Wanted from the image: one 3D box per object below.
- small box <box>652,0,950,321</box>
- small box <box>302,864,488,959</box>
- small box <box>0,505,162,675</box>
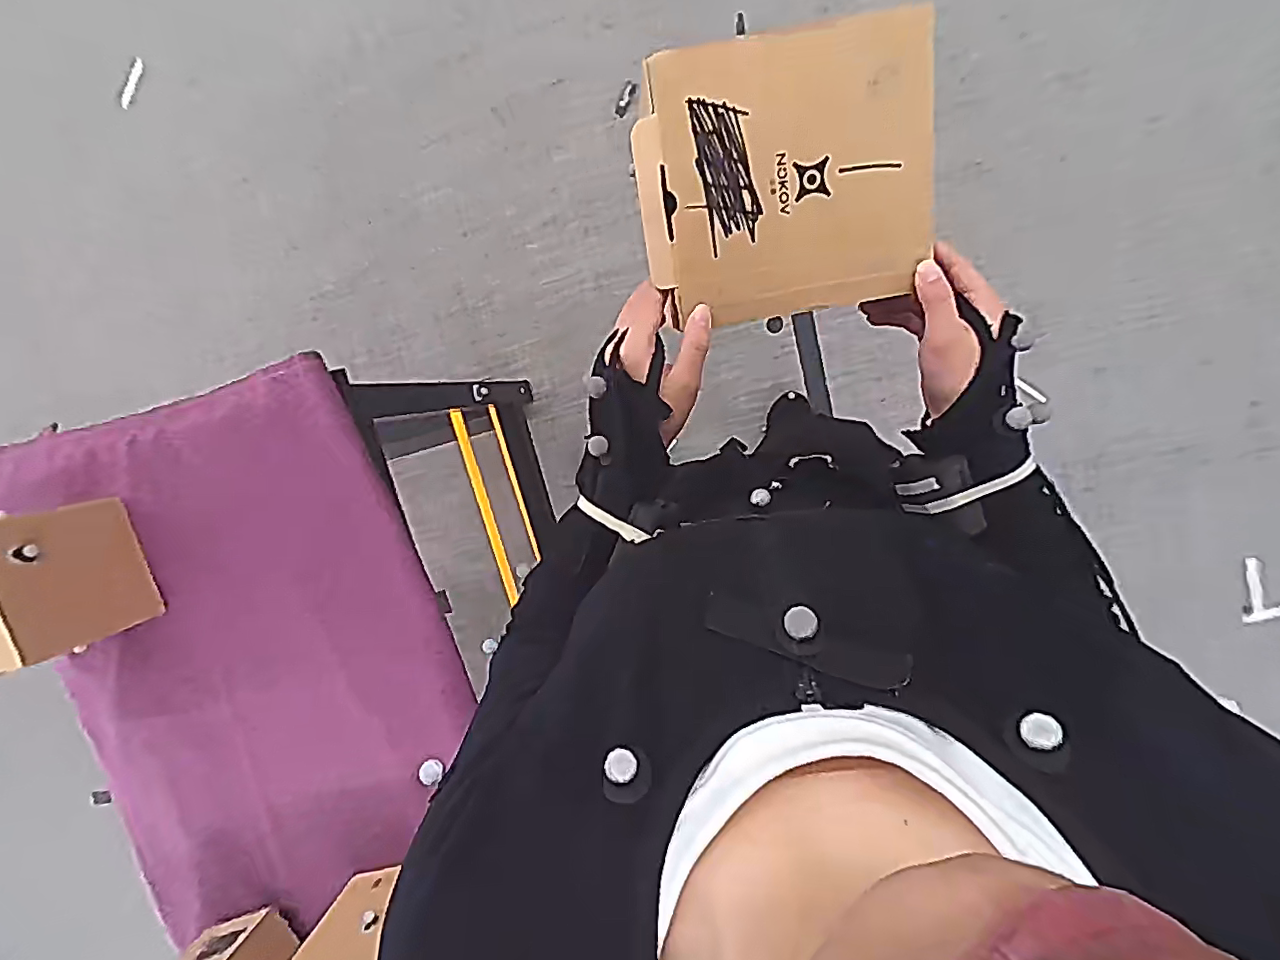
[{"bbox_3d":[0.105,-0.218,0.416,0.179,0.176,0.168,-10,108,1],"label":"small box"},{"bbox_3d":[-0.335,0.660,0.730,0.168,0.176,0.179,-20,97,11],"label":"small box"},{"bbox_3d":[-0.784,0.139,0.693,0.168,0.176,0.179,-14,98,9],"label":"small box"}]
